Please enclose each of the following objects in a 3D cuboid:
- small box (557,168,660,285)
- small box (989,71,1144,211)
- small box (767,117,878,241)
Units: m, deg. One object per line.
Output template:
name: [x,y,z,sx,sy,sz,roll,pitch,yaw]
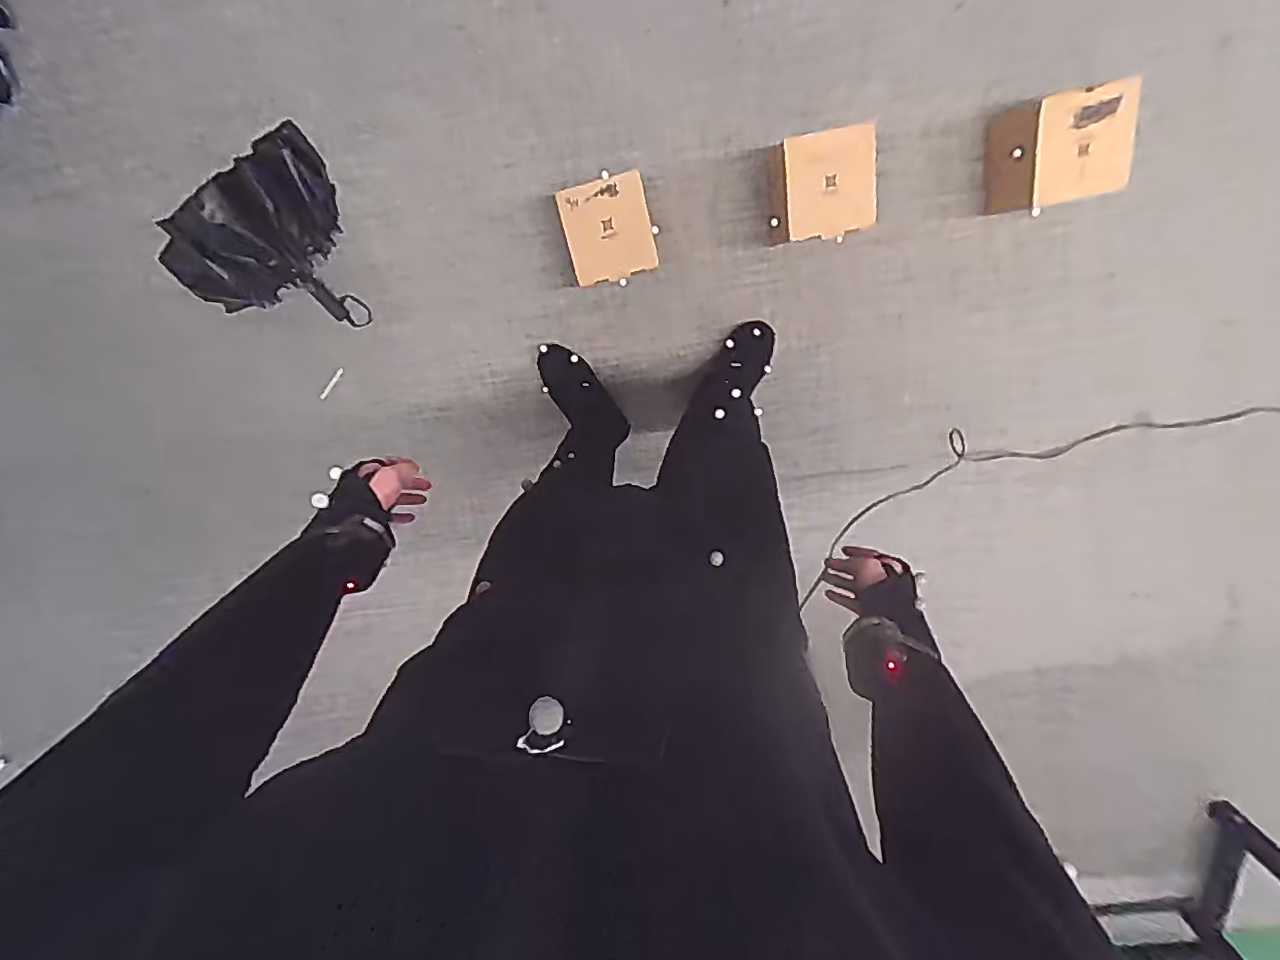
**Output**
small box: [-0.055,-0.510,1.102,0.168,0.176,0.179,-12,111,6]
small box: [0.790,-0.628,1.023,0.168,0.176,0.179,-10,110,7]
small box: [0.354,-0.578,1.063,0.168,0.176,0.179,-10,110,4]
